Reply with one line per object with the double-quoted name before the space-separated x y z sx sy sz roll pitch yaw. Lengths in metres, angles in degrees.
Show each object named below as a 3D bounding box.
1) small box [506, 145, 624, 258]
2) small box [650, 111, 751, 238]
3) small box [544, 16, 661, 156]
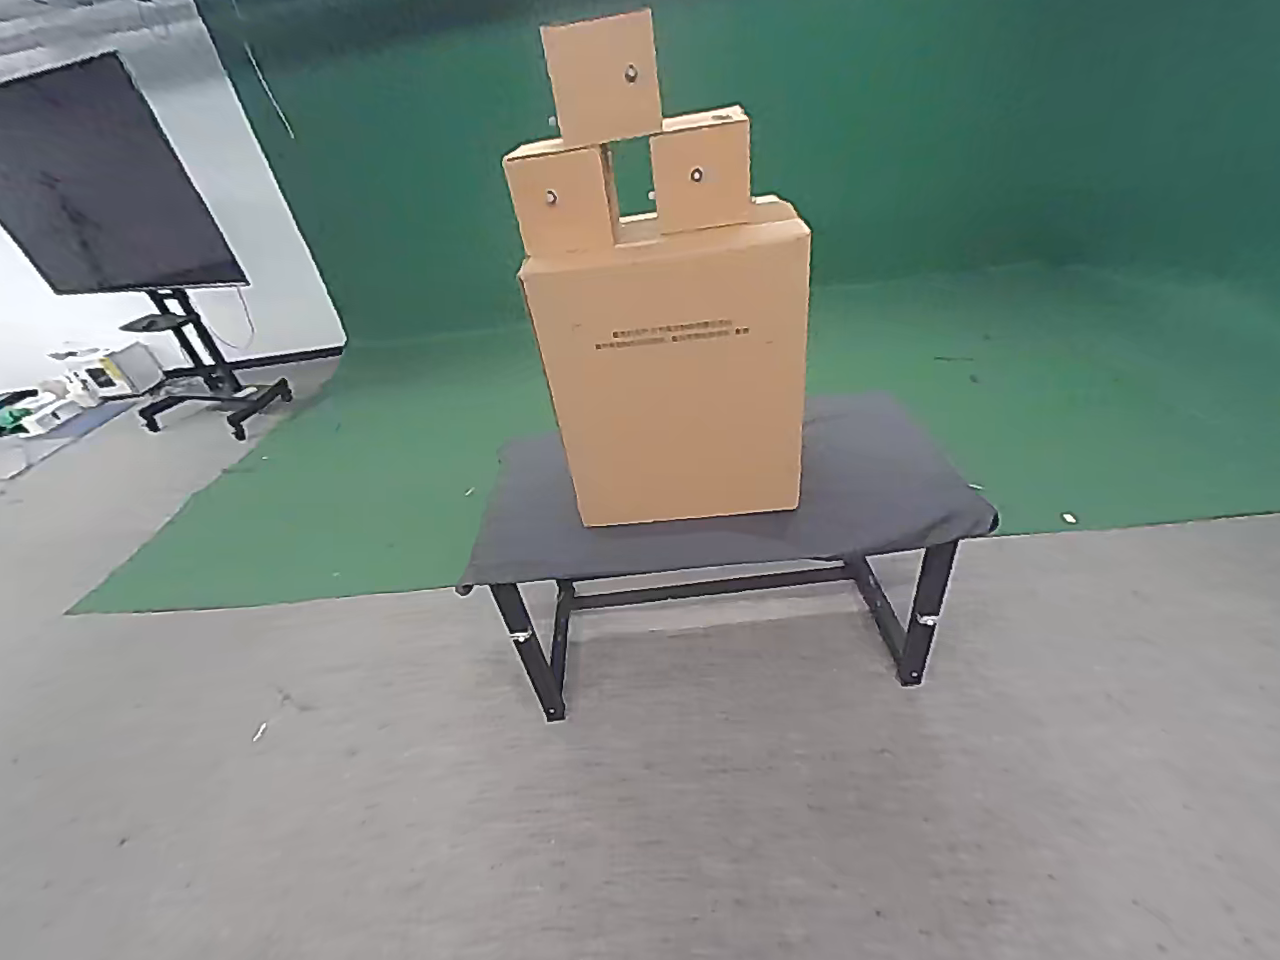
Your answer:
"small box" -0.136 -0.545 1.054 0.179 0.176 0.168 -5 39 7
"small box" 0.118 -0.586 1.042 0.179 0.176 0.168 -5 40 8
"small box" -0.062 -0.684 0.947 0.179 0.176 0.168 -12 37 -1
